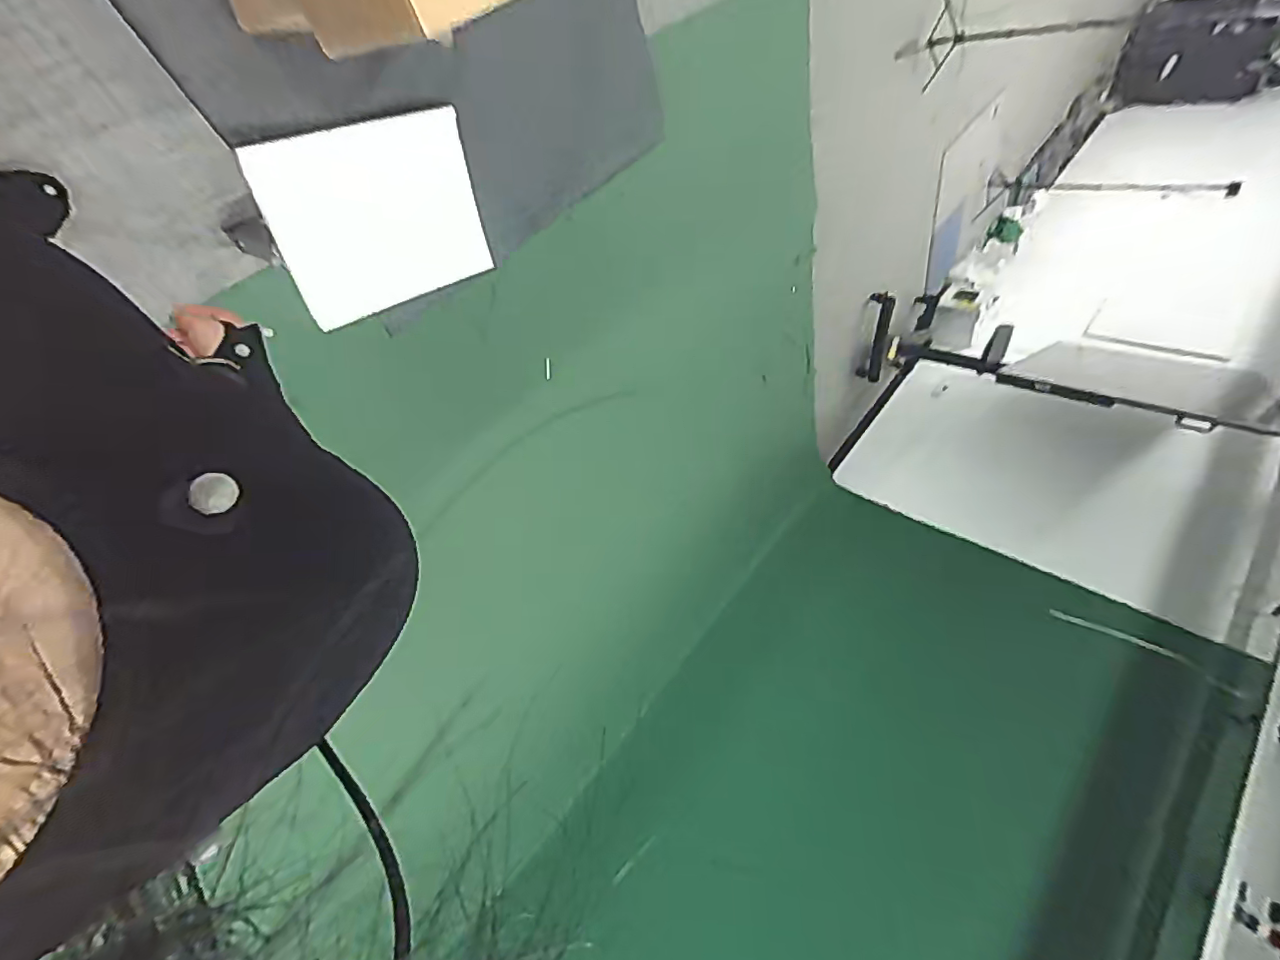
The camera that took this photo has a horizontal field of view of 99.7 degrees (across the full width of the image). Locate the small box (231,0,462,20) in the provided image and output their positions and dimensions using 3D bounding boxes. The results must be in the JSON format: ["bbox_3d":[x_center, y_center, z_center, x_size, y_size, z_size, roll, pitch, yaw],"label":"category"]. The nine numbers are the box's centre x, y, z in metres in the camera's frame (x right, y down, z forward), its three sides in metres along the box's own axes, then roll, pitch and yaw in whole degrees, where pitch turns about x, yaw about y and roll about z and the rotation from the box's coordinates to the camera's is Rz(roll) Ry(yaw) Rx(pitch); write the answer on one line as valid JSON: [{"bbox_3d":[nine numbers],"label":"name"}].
[{"bbox_3d":[-0.285,-0.530,0.482,0.179,0.176,0.168,-35,135,-33],"label":"small box"}]

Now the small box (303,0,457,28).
[{"bbox_3d":[-0.183,-0.452,0.379,0.168,0.176,0.179,-48,141,-21],"label":"small box"}]
